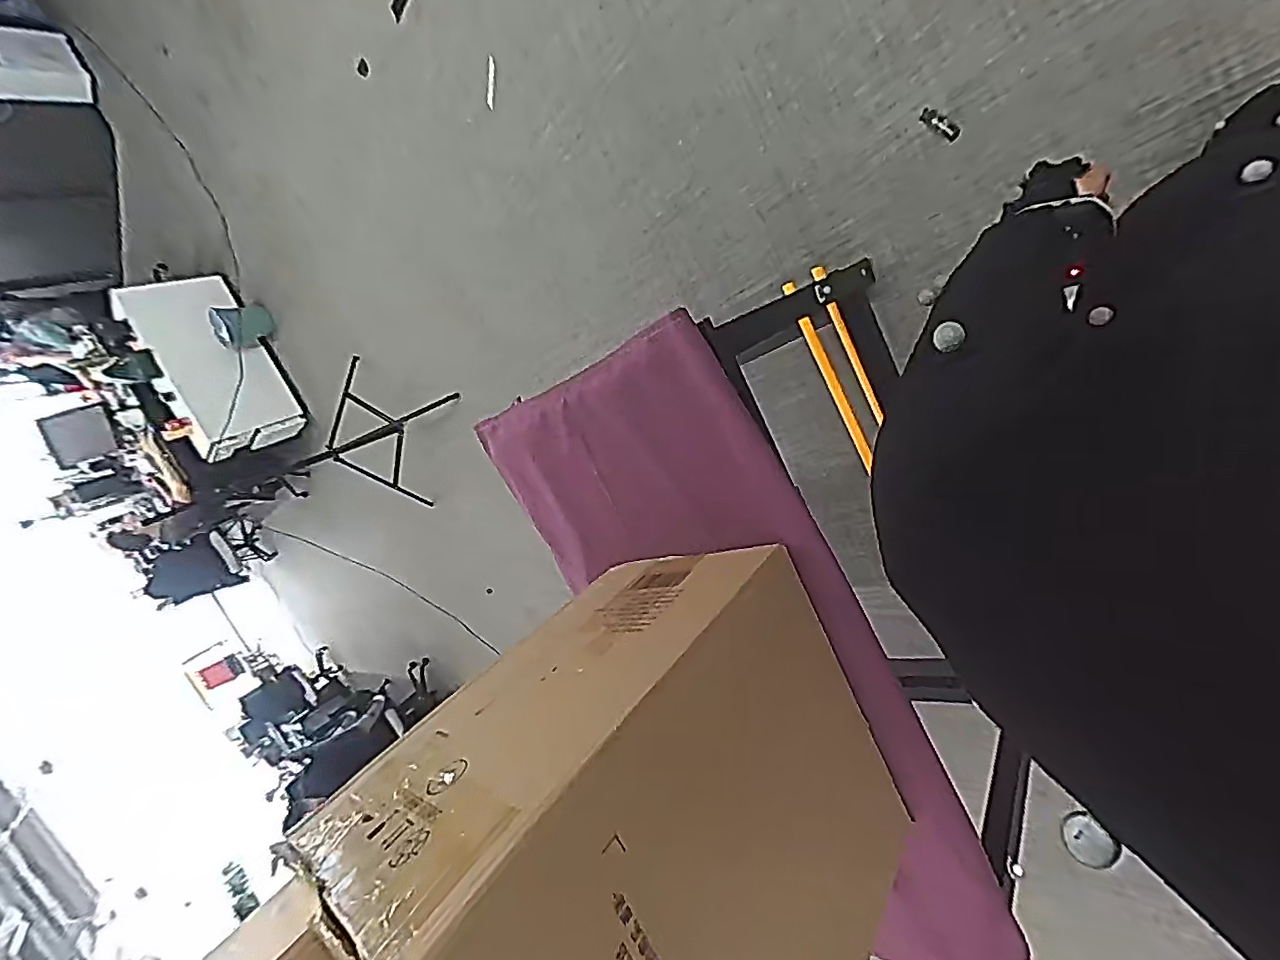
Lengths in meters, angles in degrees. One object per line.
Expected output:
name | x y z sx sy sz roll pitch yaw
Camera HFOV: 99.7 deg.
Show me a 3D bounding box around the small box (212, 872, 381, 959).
small box | -0.353 0.546 0.544 0.168 0.176 0.179 -25 99 47
